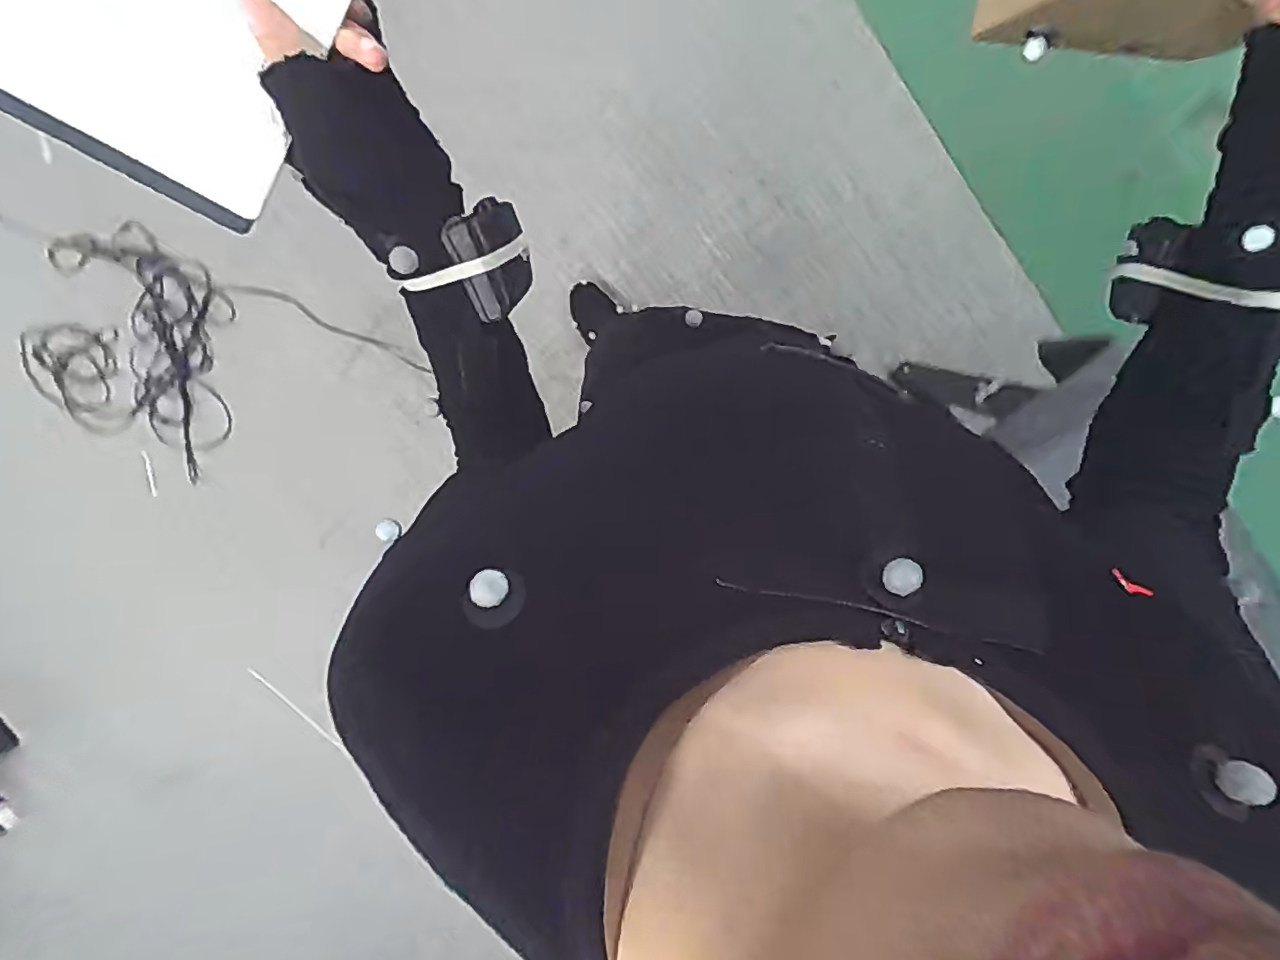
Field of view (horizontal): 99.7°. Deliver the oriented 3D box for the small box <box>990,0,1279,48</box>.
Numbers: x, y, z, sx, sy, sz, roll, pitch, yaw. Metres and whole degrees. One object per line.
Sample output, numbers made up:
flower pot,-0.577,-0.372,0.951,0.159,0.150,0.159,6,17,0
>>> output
small box,0.313,-0.349,0.271,0.168,0.176,0.179,3,115,-3
